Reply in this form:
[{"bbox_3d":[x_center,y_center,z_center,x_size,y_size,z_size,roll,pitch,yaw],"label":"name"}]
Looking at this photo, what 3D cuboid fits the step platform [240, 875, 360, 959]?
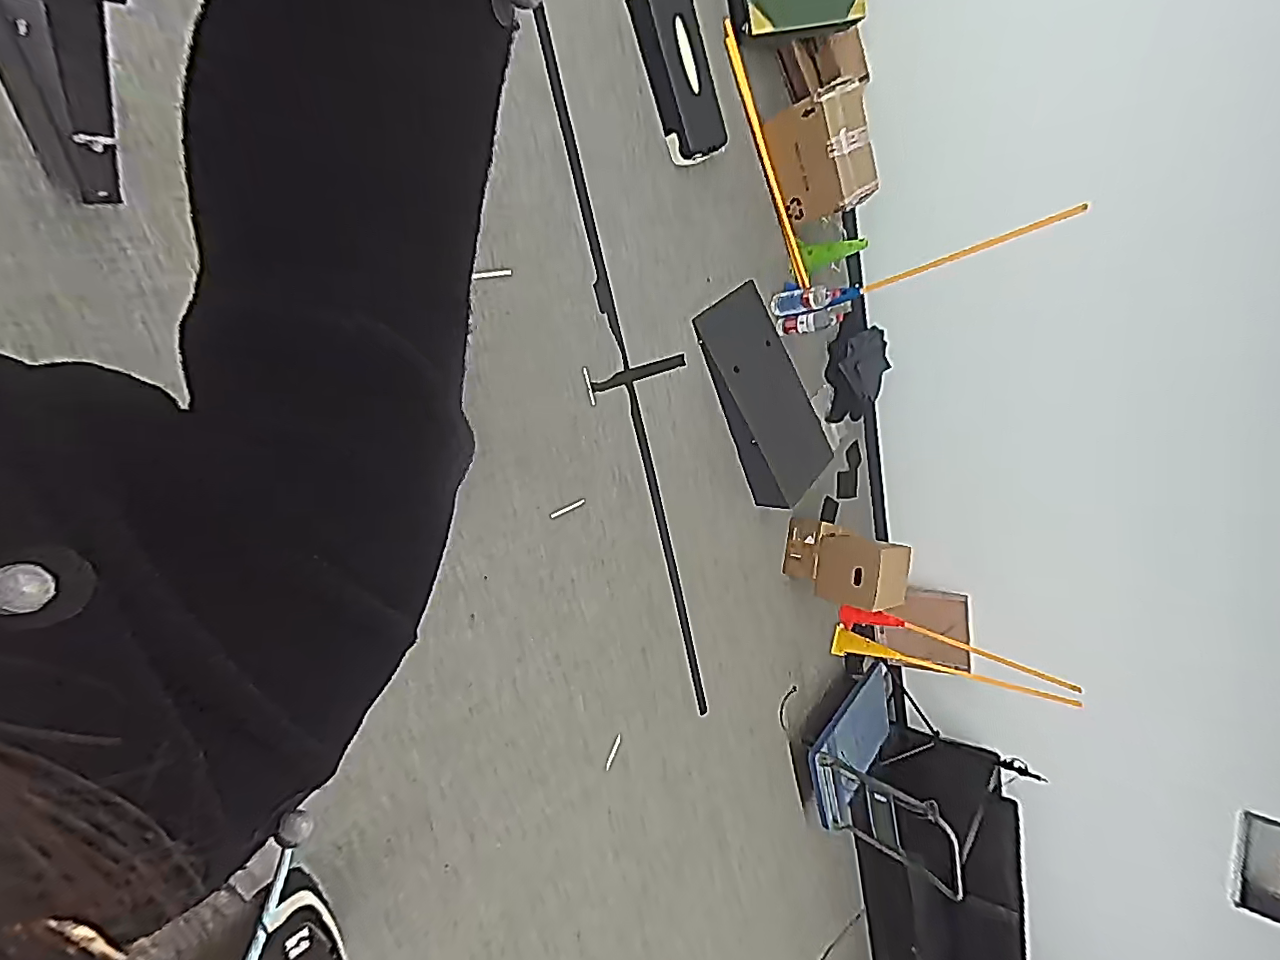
[{"bbox_3d":[-0.980,1.227,1.154,0.684,0.204,0.286,-19,106,-42],"label":"step platform"}]
